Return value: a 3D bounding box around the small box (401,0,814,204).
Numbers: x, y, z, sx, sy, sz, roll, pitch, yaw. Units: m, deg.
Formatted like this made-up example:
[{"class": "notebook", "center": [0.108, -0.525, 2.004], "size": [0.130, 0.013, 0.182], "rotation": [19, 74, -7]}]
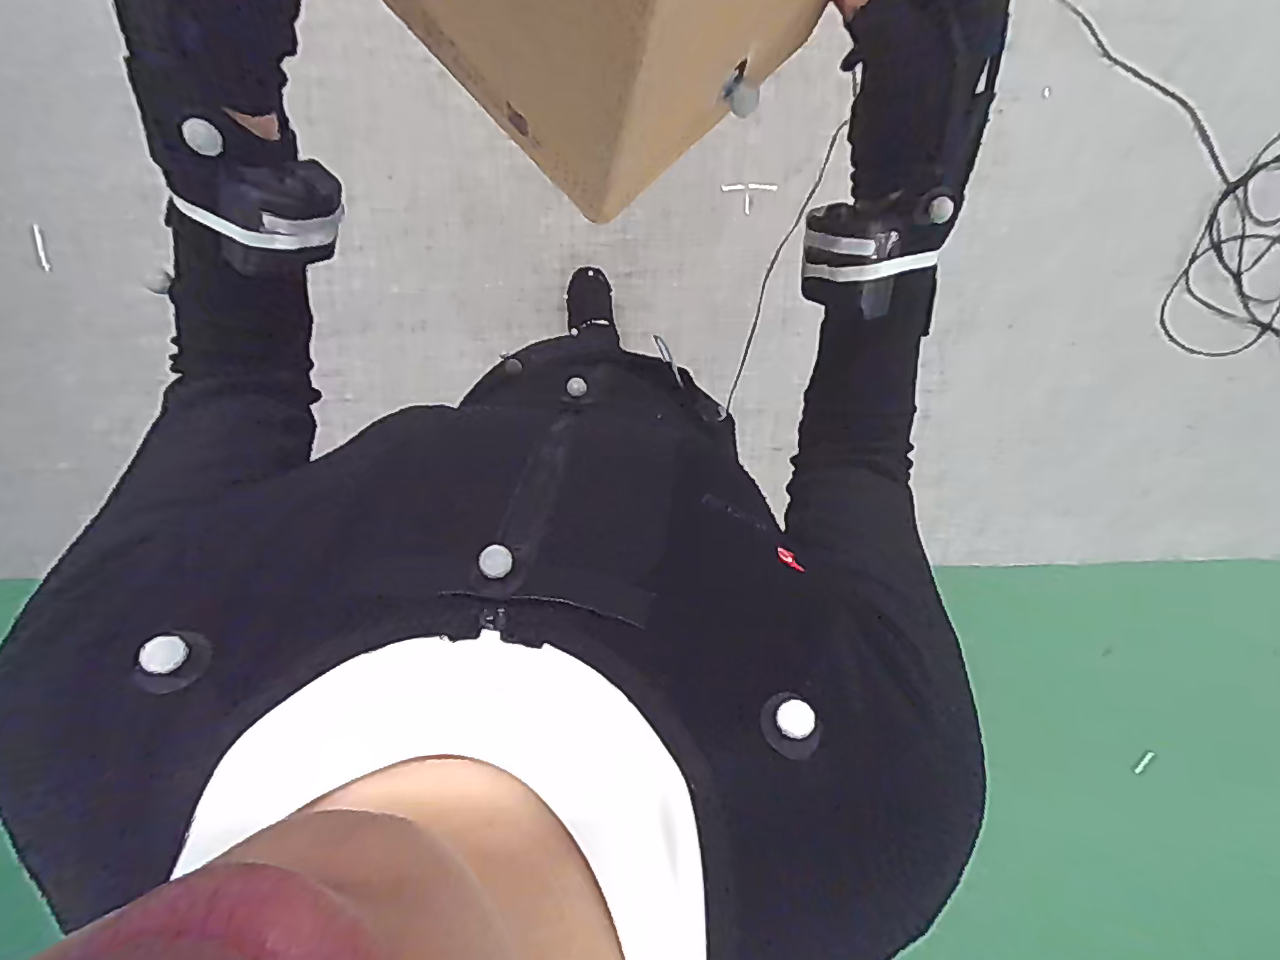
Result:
[{"class": "small box", "center": [-0.002, -0.265, 0.225], "size": [0.168, 0.176, 0.179], "rotation": [45, 81, -8]}]
